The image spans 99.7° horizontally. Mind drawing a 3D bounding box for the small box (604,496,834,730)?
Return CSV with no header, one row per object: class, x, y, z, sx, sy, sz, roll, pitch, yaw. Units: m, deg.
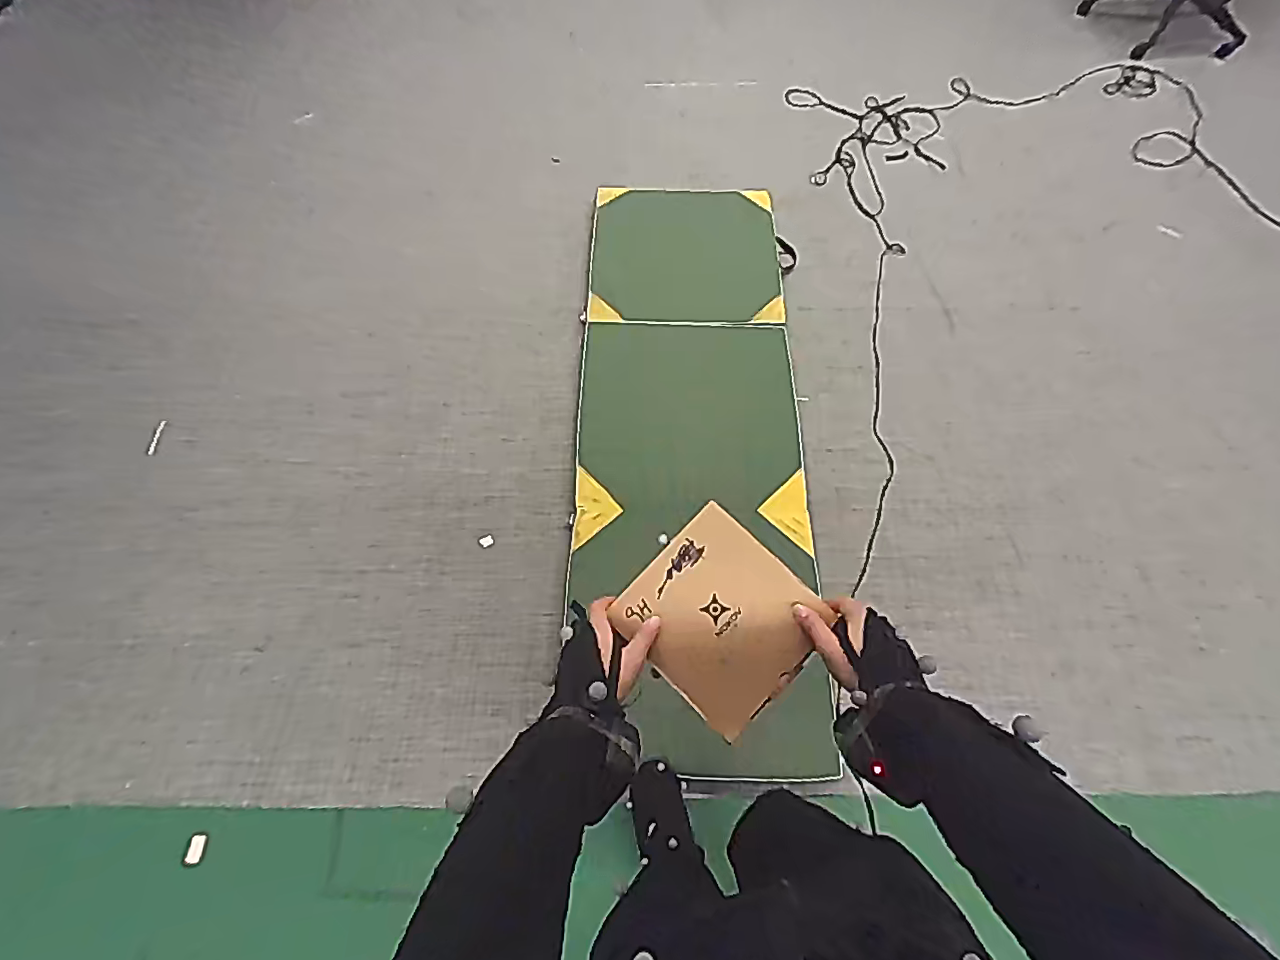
small box,0.080,0.145,0.622,0.168,0.176,0.179,-44,80,-9
